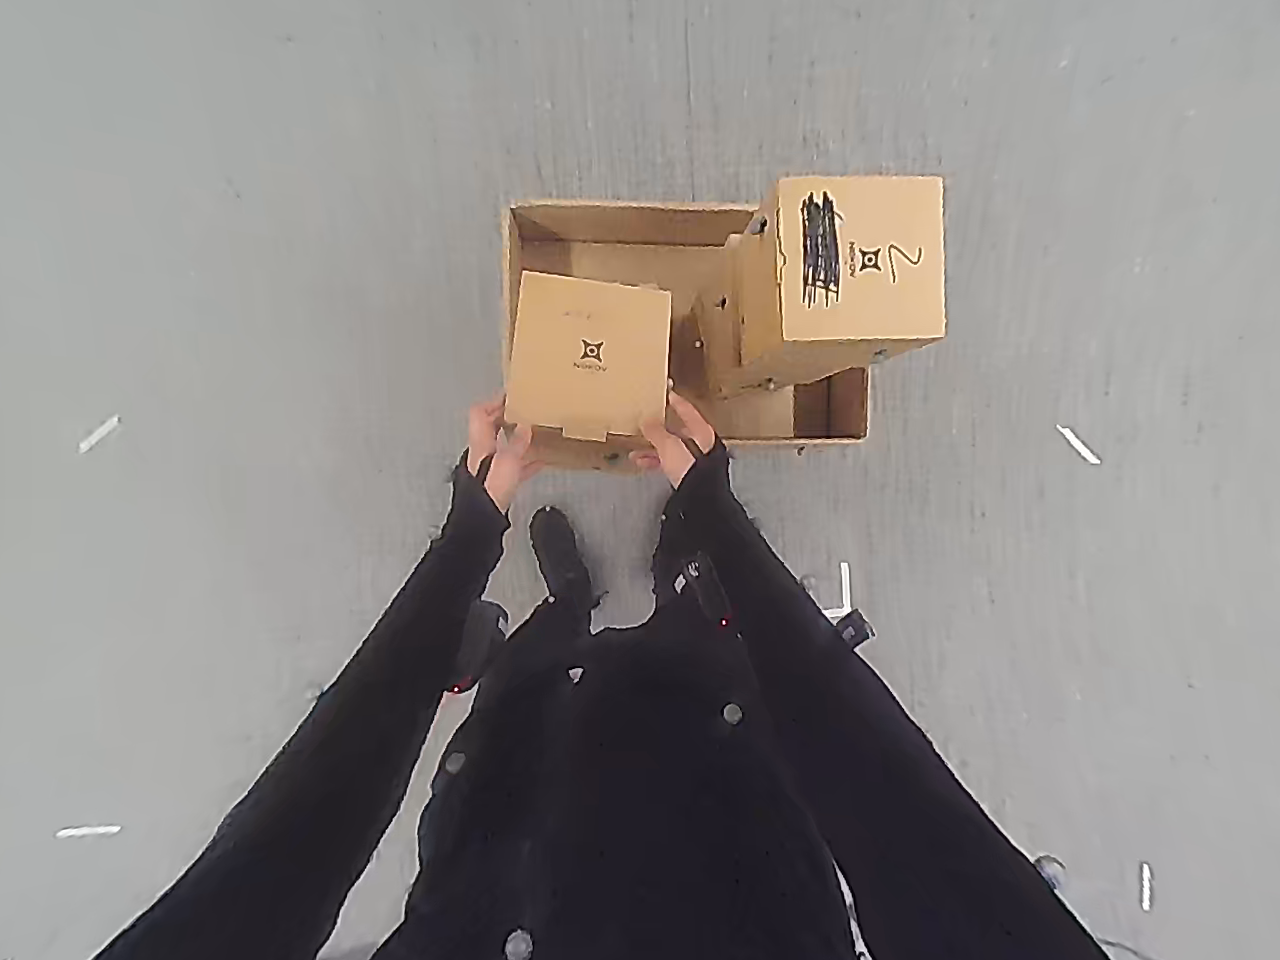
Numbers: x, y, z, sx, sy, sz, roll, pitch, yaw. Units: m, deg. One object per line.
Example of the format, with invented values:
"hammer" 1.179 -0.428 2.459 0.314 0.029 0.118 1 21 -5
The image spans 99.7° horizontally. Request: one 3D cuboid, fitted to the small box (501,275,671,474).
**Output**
"small box" -0.064 -0.111 0.643 0.168 0.176 0.179 5 78 -8
